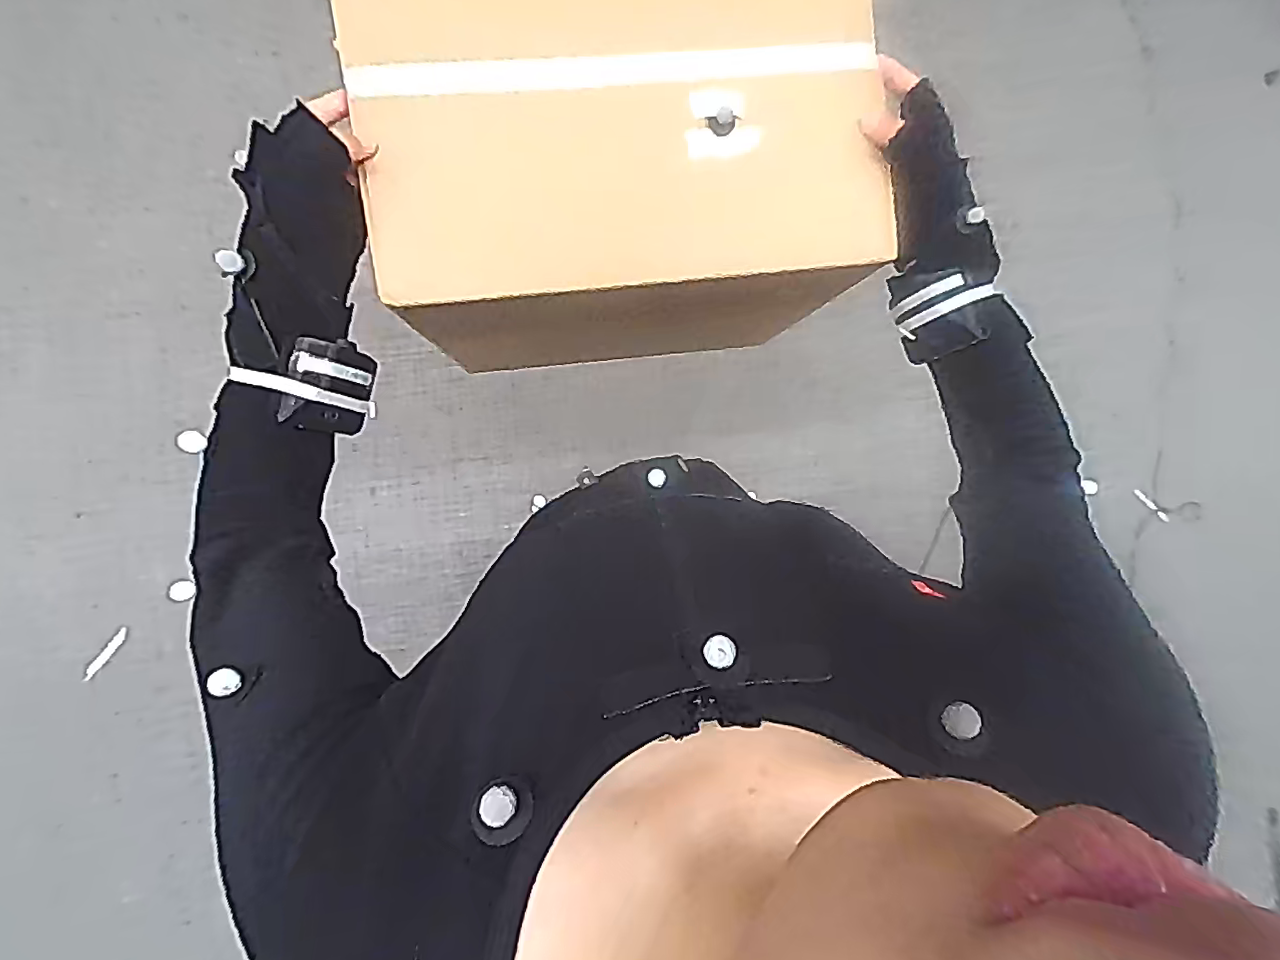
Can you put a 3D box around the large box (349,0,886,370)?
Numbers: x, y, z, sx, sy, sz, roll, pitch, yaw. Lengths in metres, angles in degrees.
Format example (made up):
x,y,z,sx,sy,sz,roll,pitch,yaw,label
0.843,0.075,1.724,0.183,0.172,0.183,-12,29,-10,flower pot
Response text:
x,y,z,sx,sy,sz,roll,pitch,yaw,label
-0.029,-0.317,0.570,0.408,0.320,0.320,-8,93,-7,large box
